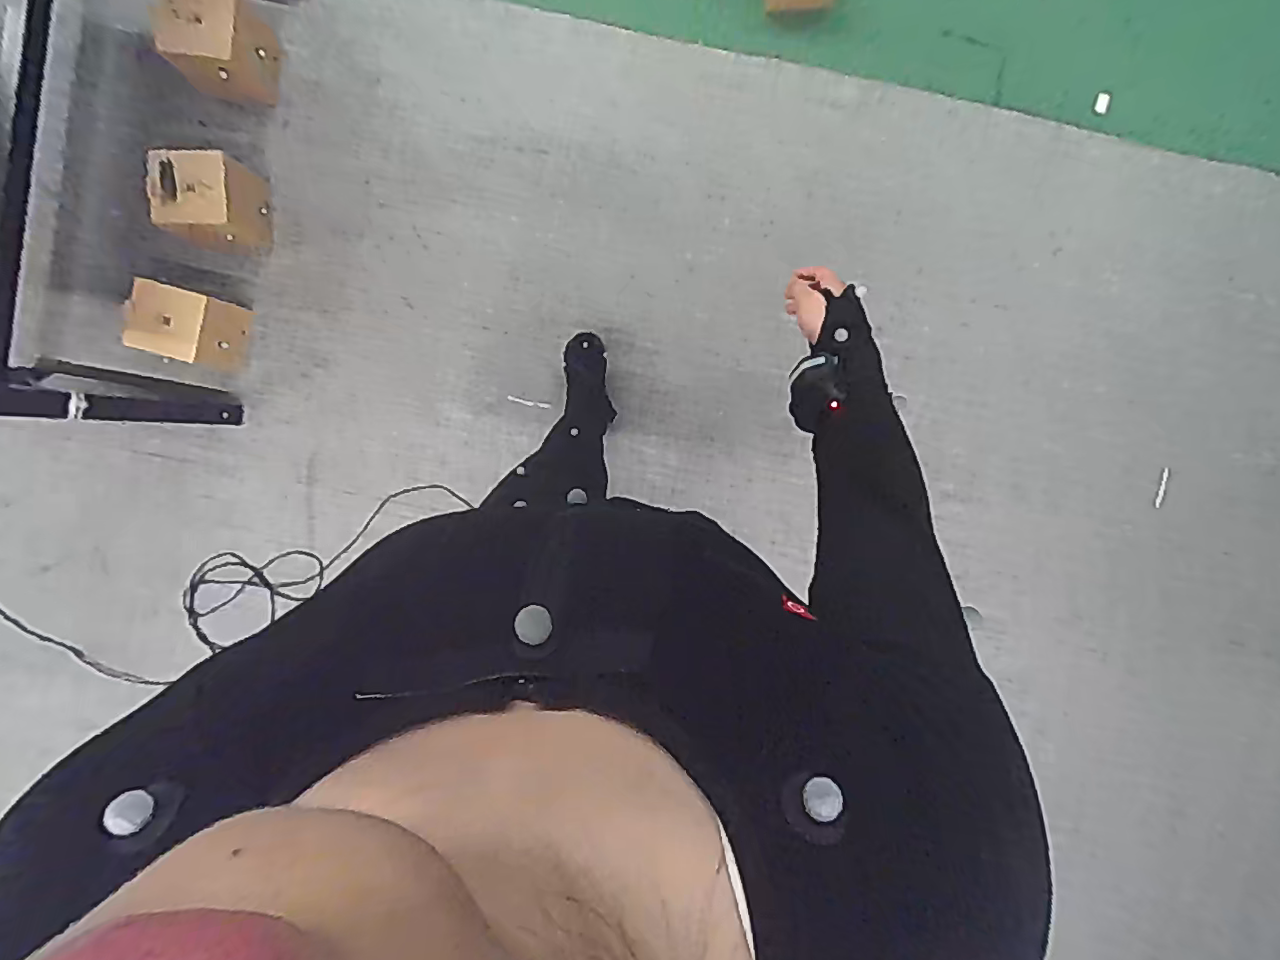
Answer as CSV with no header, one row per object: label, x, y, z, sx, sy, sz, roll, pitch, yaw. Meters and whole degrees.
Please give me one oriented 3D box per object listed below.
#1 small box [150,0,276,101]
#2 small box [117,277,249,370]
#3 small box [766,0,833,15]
small box,-1.010,-1.047,1.294,0.179,0.176,0.168,6,93,-2
small box,-1.123,-0.379,1.343,0.179,0.176,0.168,15,94,-2
small box,0.404,-1.274,1.307,0.179,0.176,0.168,-5,94,-2
